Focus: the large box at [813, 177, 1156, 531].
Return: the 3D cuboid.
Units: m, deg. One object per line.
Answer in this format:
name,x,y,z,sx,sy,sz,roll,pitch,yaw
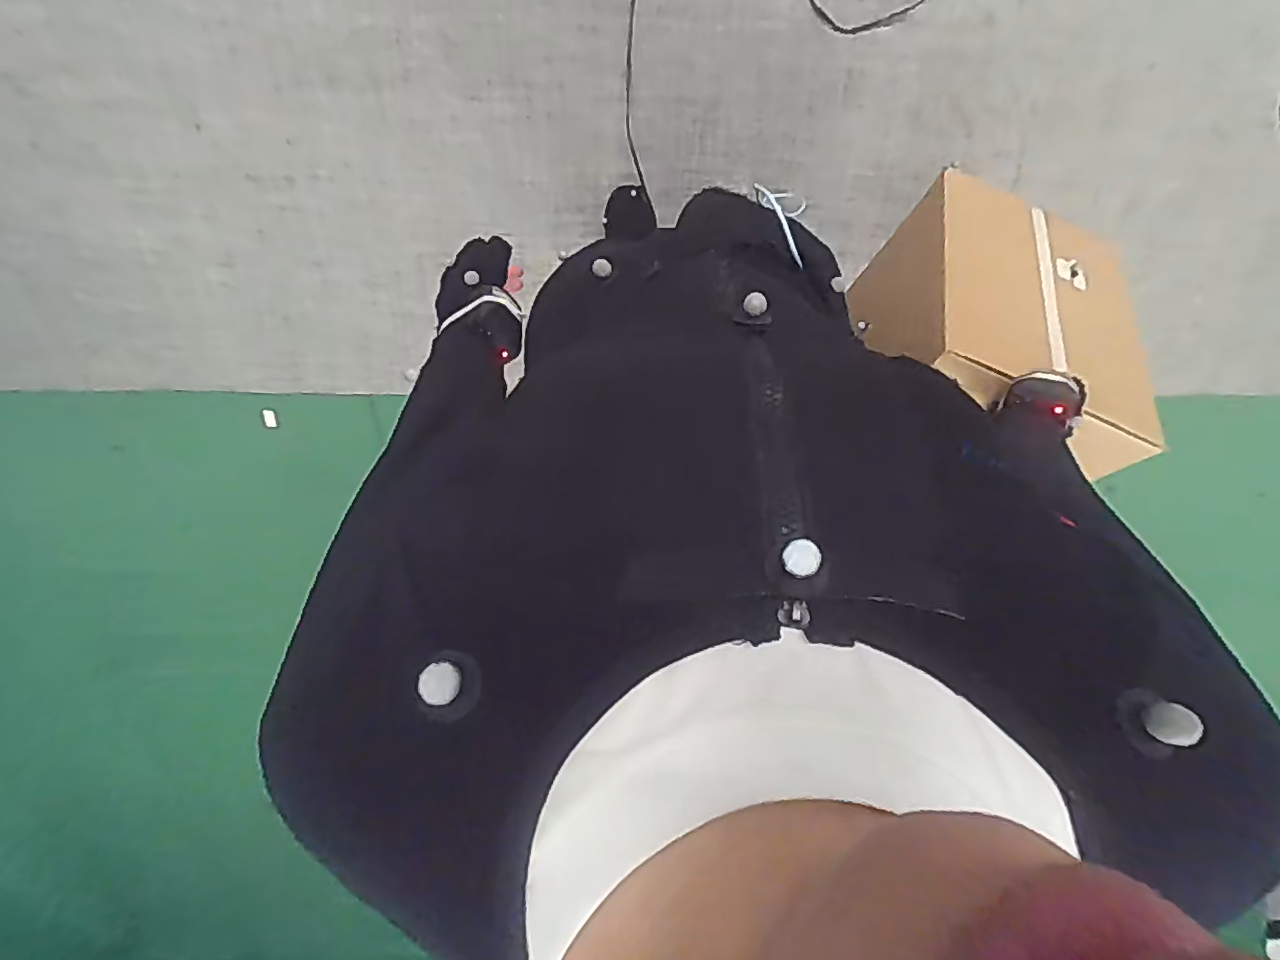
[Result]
large box,0.511,-0.186,0.879,0.320,0.408,0.320,22,150,-7
